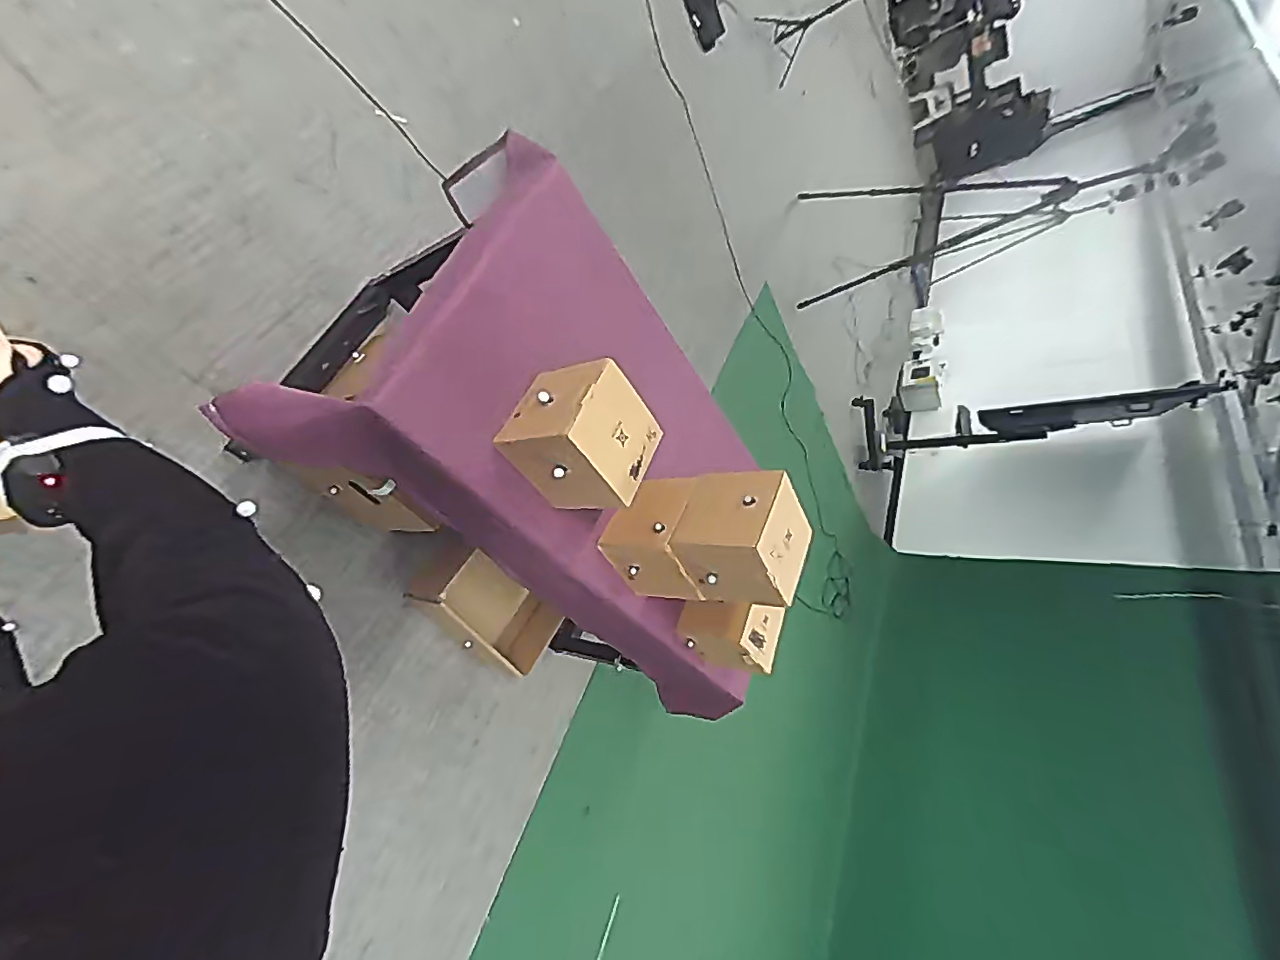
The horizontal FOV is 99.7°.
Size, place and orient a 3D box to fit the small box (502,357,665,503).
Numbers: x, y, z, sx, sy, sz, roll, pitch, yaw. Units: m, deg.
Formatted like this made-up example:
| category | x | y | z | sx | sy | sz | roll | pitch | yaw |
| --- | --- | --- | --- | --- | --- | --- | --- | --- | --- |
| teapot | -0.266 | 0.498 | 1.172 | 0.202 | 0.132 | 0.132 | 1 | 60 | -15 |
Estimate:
| category | x | y | z | sx | sy | sz | roll | pitch | yaw |
| --- | --- | --- | --- | --- | --- | --- | --- | --- | --- |
| small box | -0.093 | -0.072 | 0.894 | 0.179 | 0.176 | 0.168 | 51 | 52 | -36 |

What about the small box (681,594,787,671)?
| category | x | y | z | sx | sy | sz | roll | pitch | yaw |
| --- | --- | --- | --- | --- | --- | --- | --- | --- | --- |
| small box | 0.217 | 0.318 | 1.261 | 0.168 | 0.176 | 0.179 | 51 | 50 | -36 |

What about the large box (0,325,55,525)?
| category | x | y | z | sx | sy | sz | roll | pitch | yaw |
| --- | --- | --- | --- | --- | --- | --- | --- | --- | --- |
| large box | -0.814 | -0.071 | 0.428 | 0.408 | 0.320 | 0.320 | -19 | 100 | -52 |

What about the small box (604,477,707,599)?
| category | x | y | z | sx | sy | sz | roll | pitch | yaw |
| --- | --- | --- | --- | --- | --- | --- | --- | --- | --- |
| small box | 0.057 | 0.110 | 1.076 | 0.168 | 0.176 | 0.179 | 56 | 49 | -33 |

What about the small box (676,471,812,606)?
| category | x | y | z | sx | sy | sz | roll | pitch | yaw |
| --- | --- | --- | --- | --- | --- | --- | --- | --- | --- |
| small box | 0.189 | 0.101 | 0.977 | 0.168 | 0.176 | 0.179 | 56 | 49 | -32 |
